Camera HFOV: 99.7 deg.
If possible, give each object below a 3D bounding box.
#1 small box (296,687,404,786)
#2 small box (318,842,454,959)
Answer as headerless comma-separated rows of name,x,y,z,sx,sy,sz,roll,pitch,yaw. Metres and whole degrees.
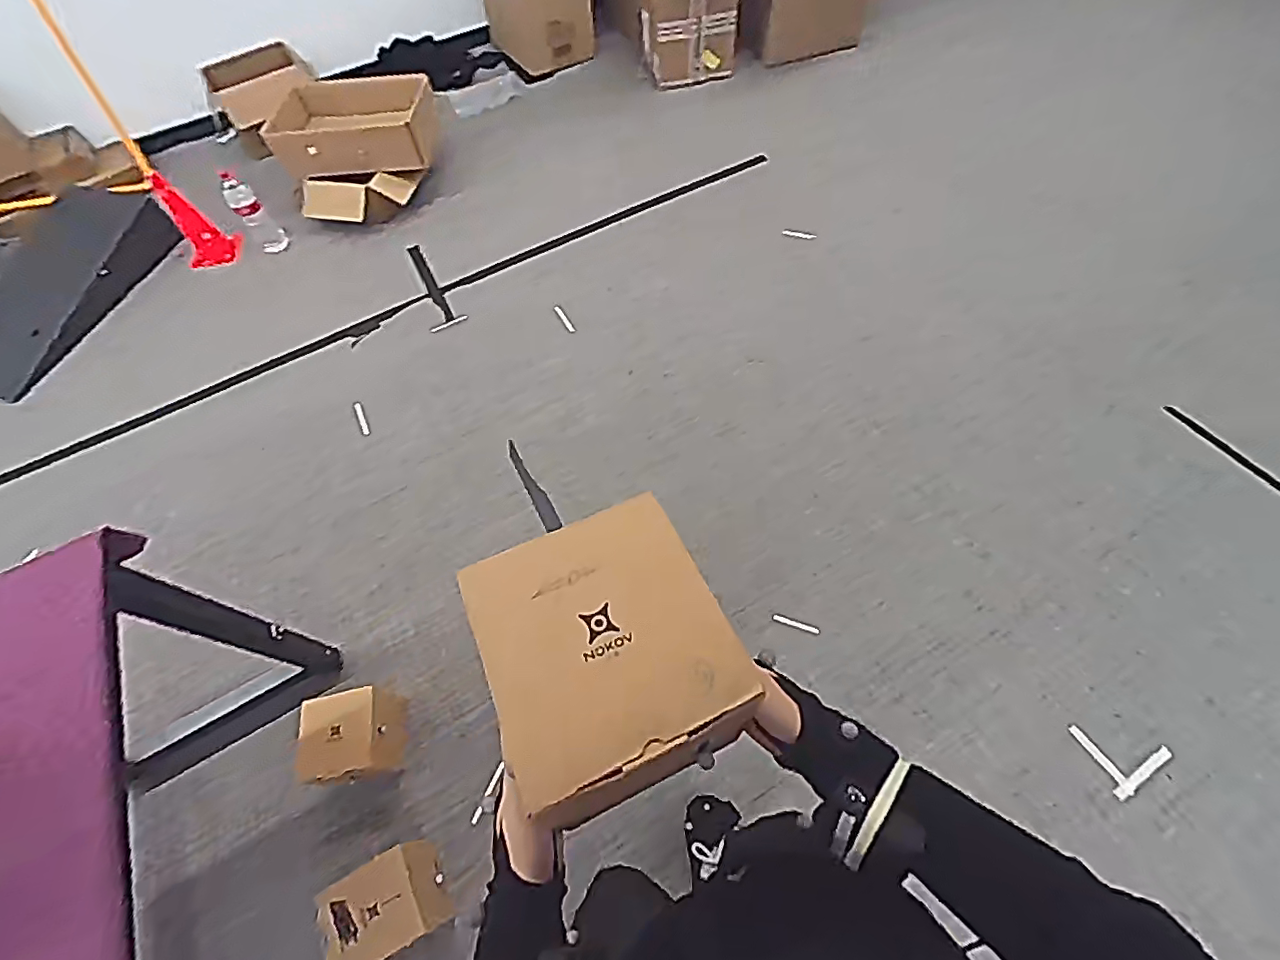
small box,-0.675,0.612,1.281,0.168,0.176,0.179,-13,61,-3
small box,-0.515,0.882,1.112,0.179,0.176,0.168,-28,62,-12
